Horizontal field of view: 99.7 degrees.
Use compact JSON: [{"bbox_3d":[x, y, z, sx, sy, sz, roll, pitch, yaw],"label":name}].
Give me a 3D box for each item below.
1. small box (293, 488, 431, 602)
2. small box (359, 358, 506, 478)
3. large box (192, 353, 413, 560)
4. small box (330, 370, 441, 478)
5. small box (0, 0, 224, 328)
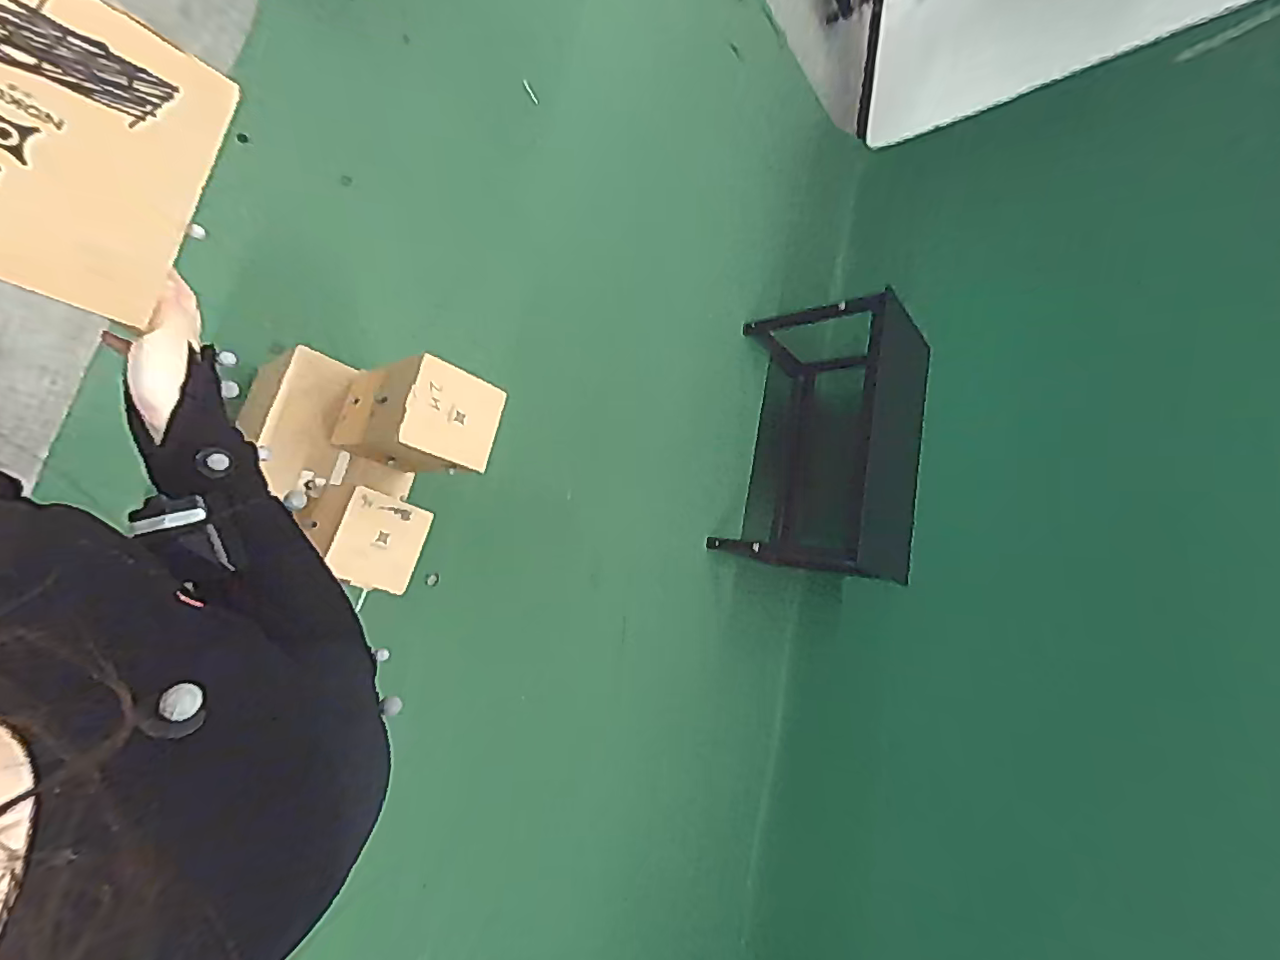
[{"bbox_3d":[-0.556,0.127,1.075,0.168,0.176,0.179,33,66,-43],"label":"small box"},{"bbox_3d":[-0.389,-0.109,1.017,0.179,0.176,0.168,25,72,-44],"label":"small box"},{"bbox_3d":[-0.741,-0.026,1.237,0.320,0.320,0.408,26,72,-43],"label":"large box"},{"bbox_3d":[-0.508,-0.111,1.132,0.179,0.176,0.168,27,71,-44],"label":"small box"},{"bbox_3d":[-0.402,-0.219,0.341,0.168,0.176,0.179,20,93,-47],"label":"small box"}]
